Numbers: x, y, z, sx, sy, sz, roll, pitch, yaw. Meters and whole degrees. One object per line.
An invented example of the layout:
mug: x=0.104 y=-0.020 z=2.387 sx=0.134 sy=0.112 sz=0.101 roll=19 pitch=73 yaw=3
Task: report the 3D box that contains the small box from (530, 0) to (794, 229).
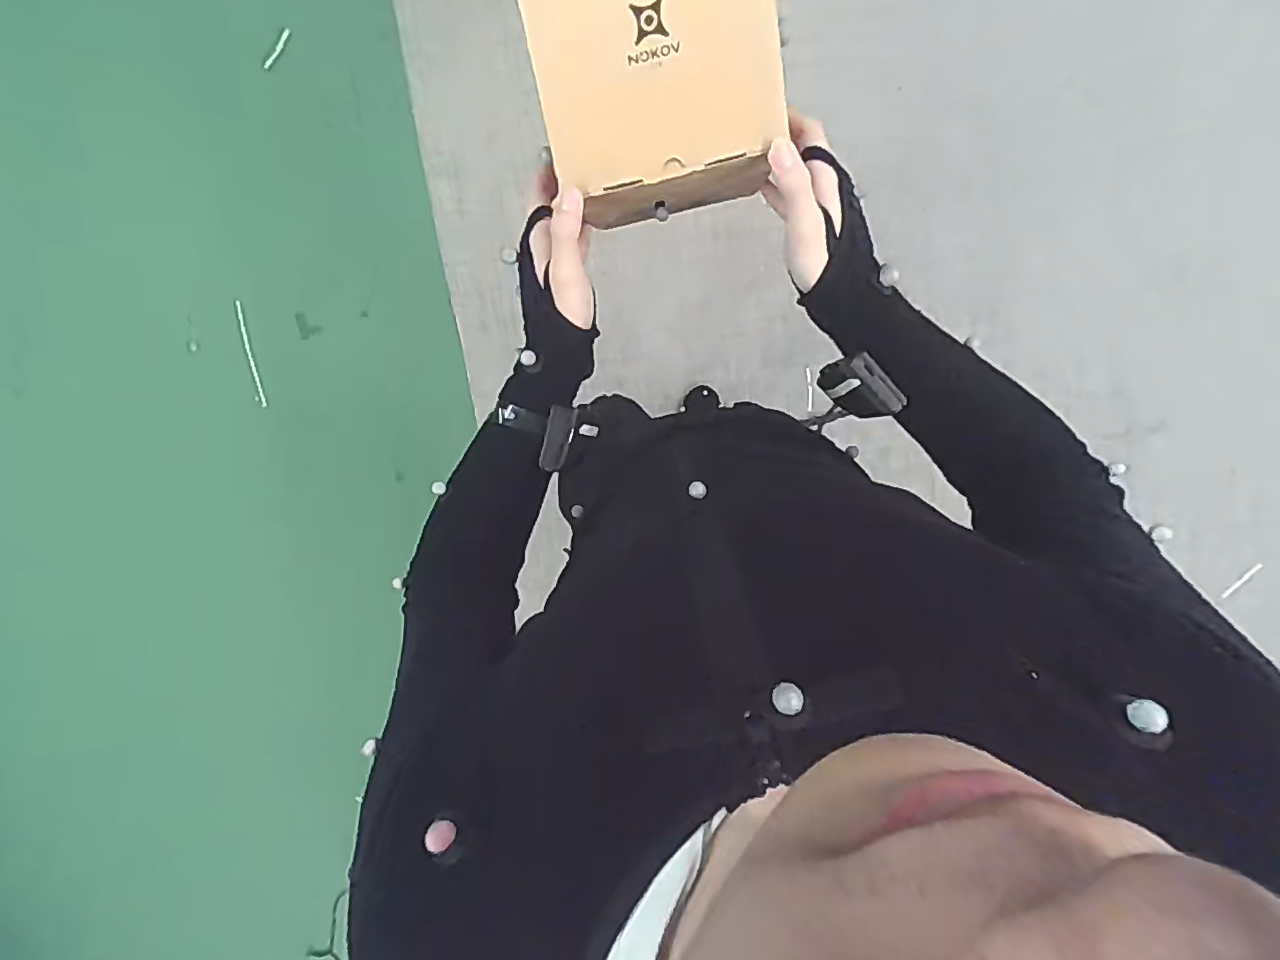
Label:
small box: x=0.017 y=-0.319 z=0.434 sx=0.168 sy=0.176 sz=0.179 roll=-9 pitch=108 yaw=7
